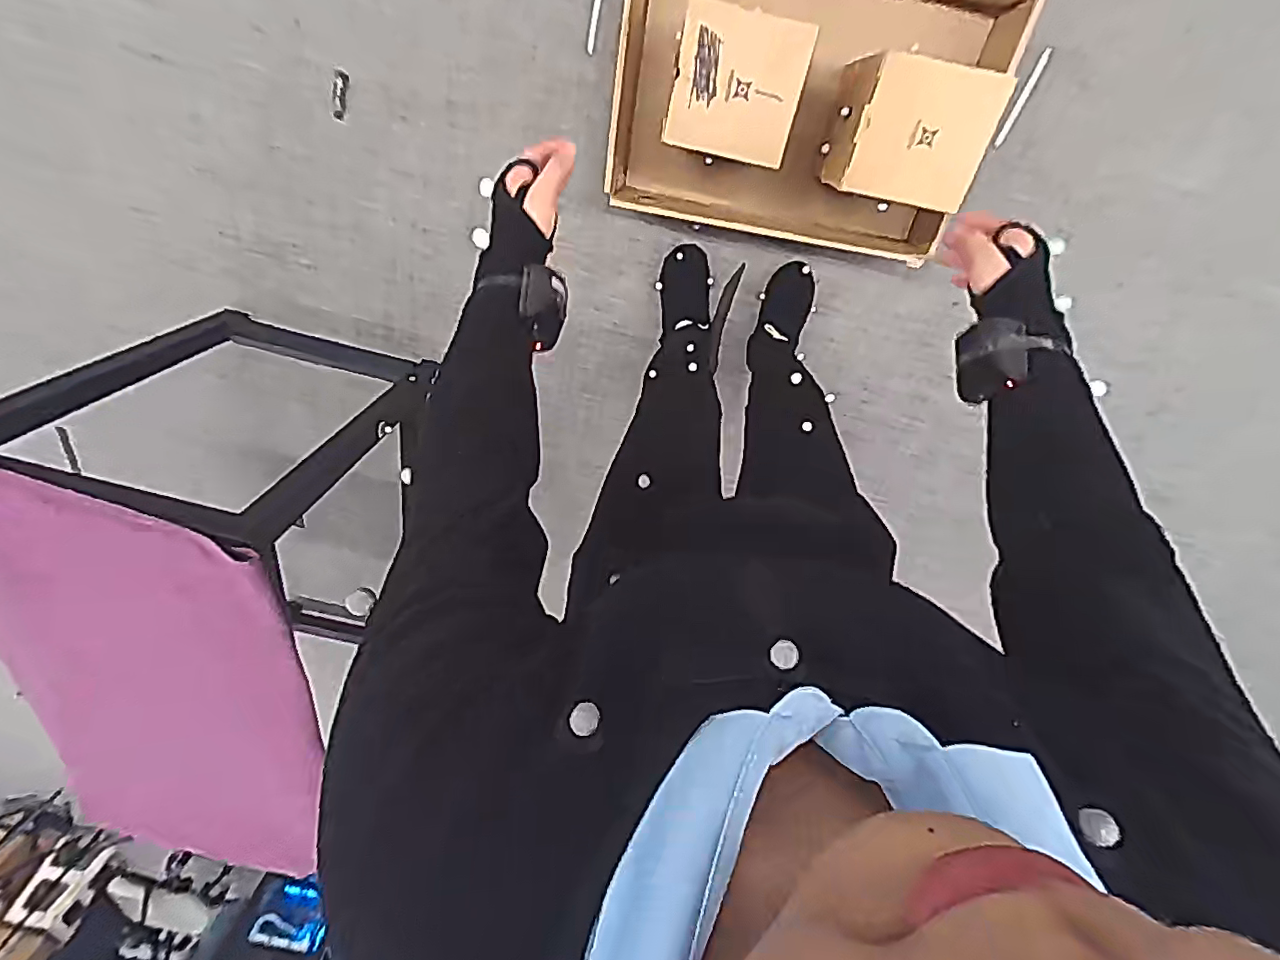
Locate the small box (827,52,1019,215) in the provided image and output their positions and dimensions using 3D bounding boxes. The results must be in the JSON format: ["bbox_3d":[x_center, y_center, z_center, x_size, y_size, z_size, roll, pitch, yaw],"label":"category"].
[{"bbox_3d":[0.401,-0.513,0.805,0.179,0.176,0.168,13,125,1],"label":"small box"}]

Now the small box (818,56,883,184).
[{"bbox_3d":[0.423,-0.603,0.939,0.168,0.176,0.179,12,123,-1],"label":"small box"}]

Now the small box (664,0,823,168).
[{"bbox_3d":[0.141,-0.576,0.795,0.179,0.176,0.168,12,125,-3],"label":"small box"}]
